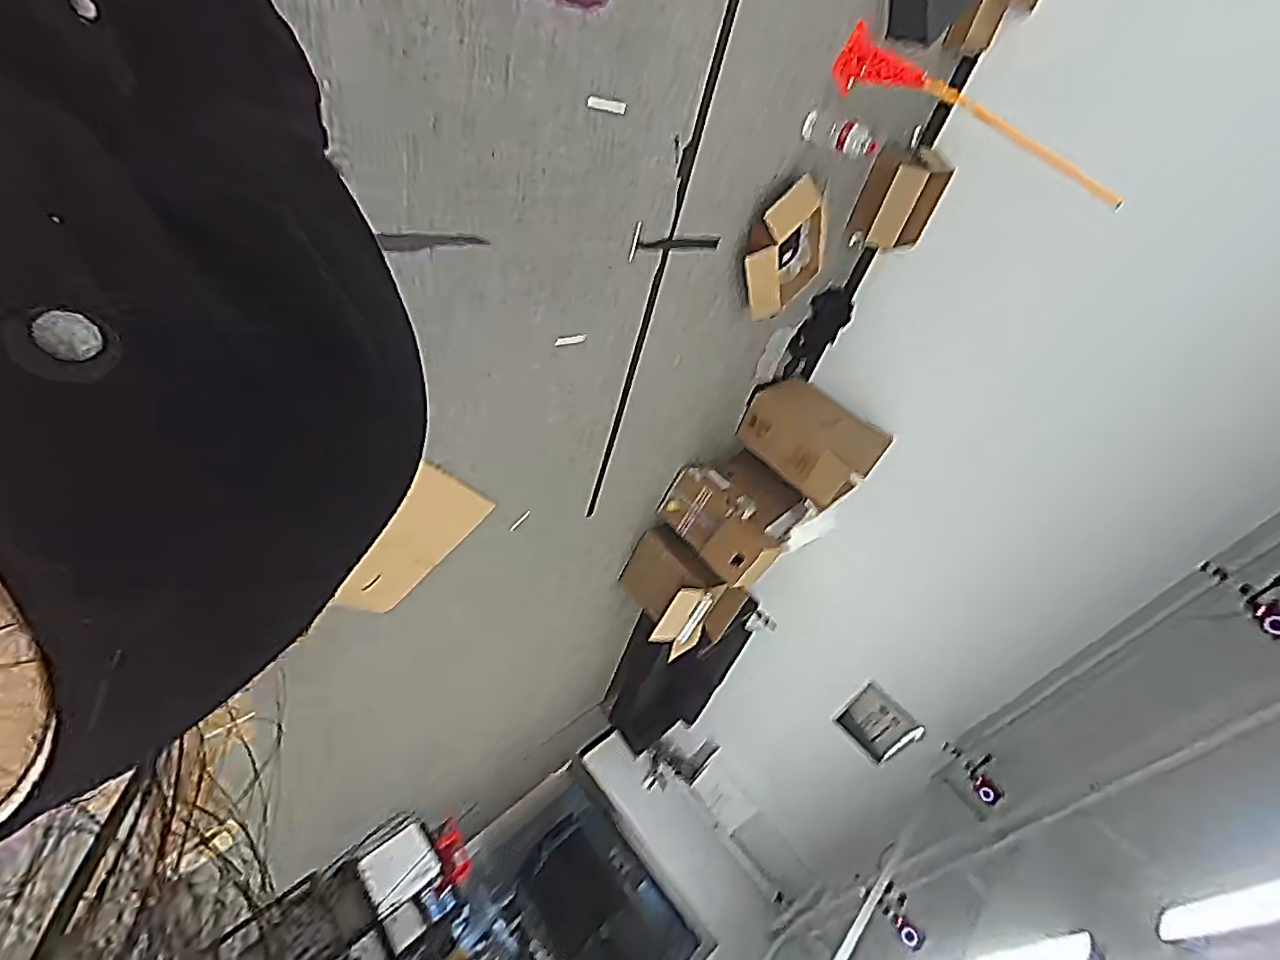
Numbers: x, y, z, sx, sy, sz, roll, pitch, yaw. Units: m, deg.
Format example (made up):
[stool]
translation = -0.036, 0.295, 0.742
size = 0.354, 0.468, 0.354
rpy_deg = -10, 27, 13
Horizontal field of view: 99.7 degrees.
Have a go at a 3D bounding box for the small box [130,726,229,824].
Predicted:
[small box]
translation = -1.368, 0.868, 1.608
size = 0.168, 0.176, 0.179
rpy_deg = -25, 147, -37
